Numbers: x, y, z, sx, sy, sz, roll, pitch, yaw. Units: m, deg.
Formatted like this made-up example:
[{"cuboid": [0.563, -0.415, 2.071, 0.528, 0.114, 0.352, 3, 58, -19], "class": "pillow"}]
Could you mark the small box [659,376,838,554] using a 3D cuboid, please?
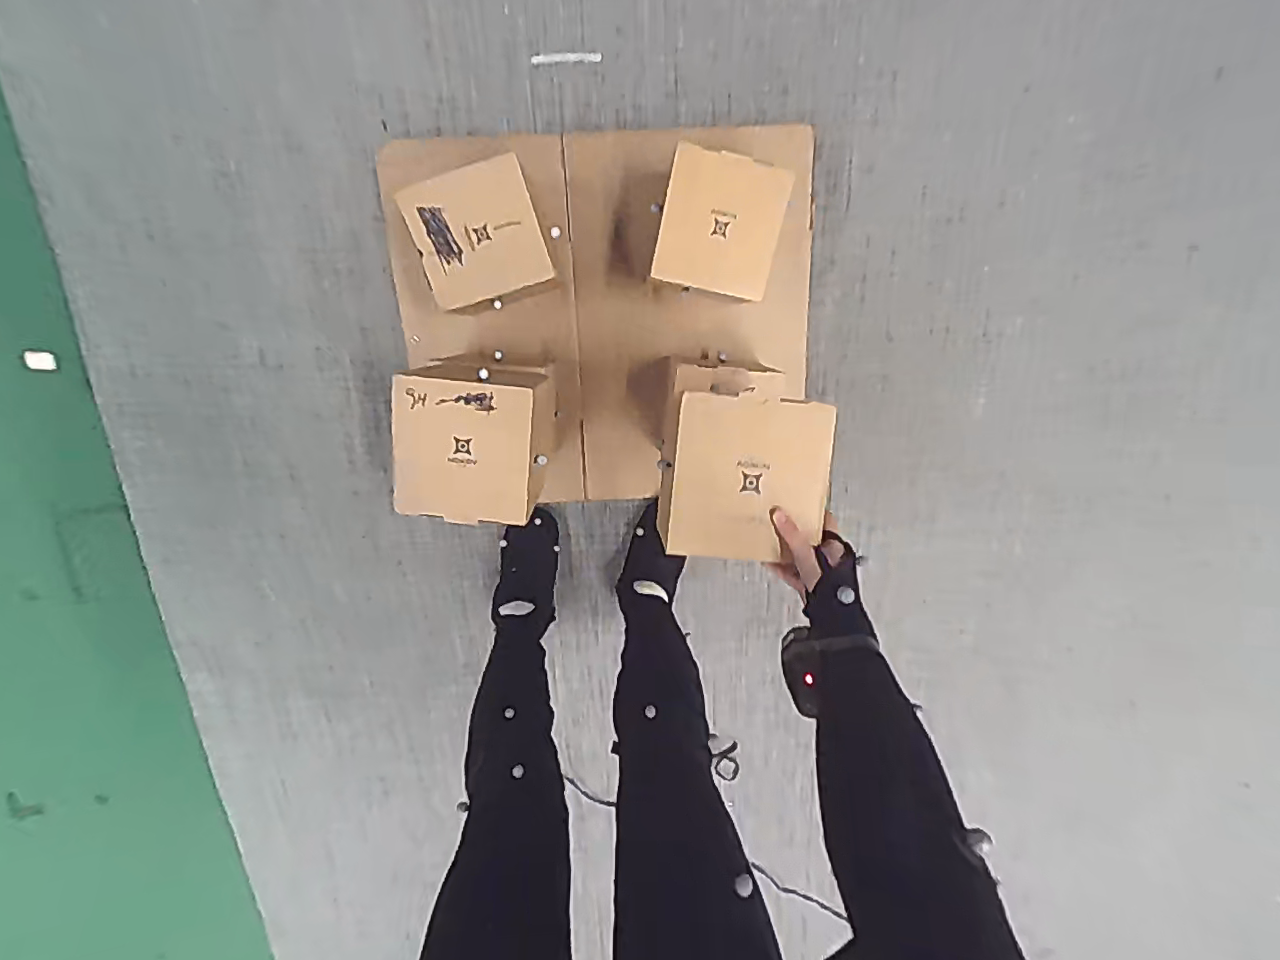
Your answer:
[{"cuboid": [0.116, -0.020, 0.652, 0.168, 0.176, 0.179, 6, 95, -3], "class": "small box"}]

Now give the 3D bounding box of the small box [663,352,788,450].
[{"cuboid": [0.129, -0.110, 0.888, 0.168, 0.176, 0.179, 5, 106, -2], "class": "small box"}]

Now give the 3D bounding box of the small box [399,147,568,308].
[{"cuboid": [-0.220, -0.364, 0.814, 0.179, 0.176, 0.168, -16, 106, 3], "class": "small box"}]

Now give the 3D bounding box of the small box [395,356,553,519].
[{"cuboid": [-0.213, -0.064, 0.730, 0.168, 0.176, 0.179, 6, 107, -3], "class": "small box"}]
